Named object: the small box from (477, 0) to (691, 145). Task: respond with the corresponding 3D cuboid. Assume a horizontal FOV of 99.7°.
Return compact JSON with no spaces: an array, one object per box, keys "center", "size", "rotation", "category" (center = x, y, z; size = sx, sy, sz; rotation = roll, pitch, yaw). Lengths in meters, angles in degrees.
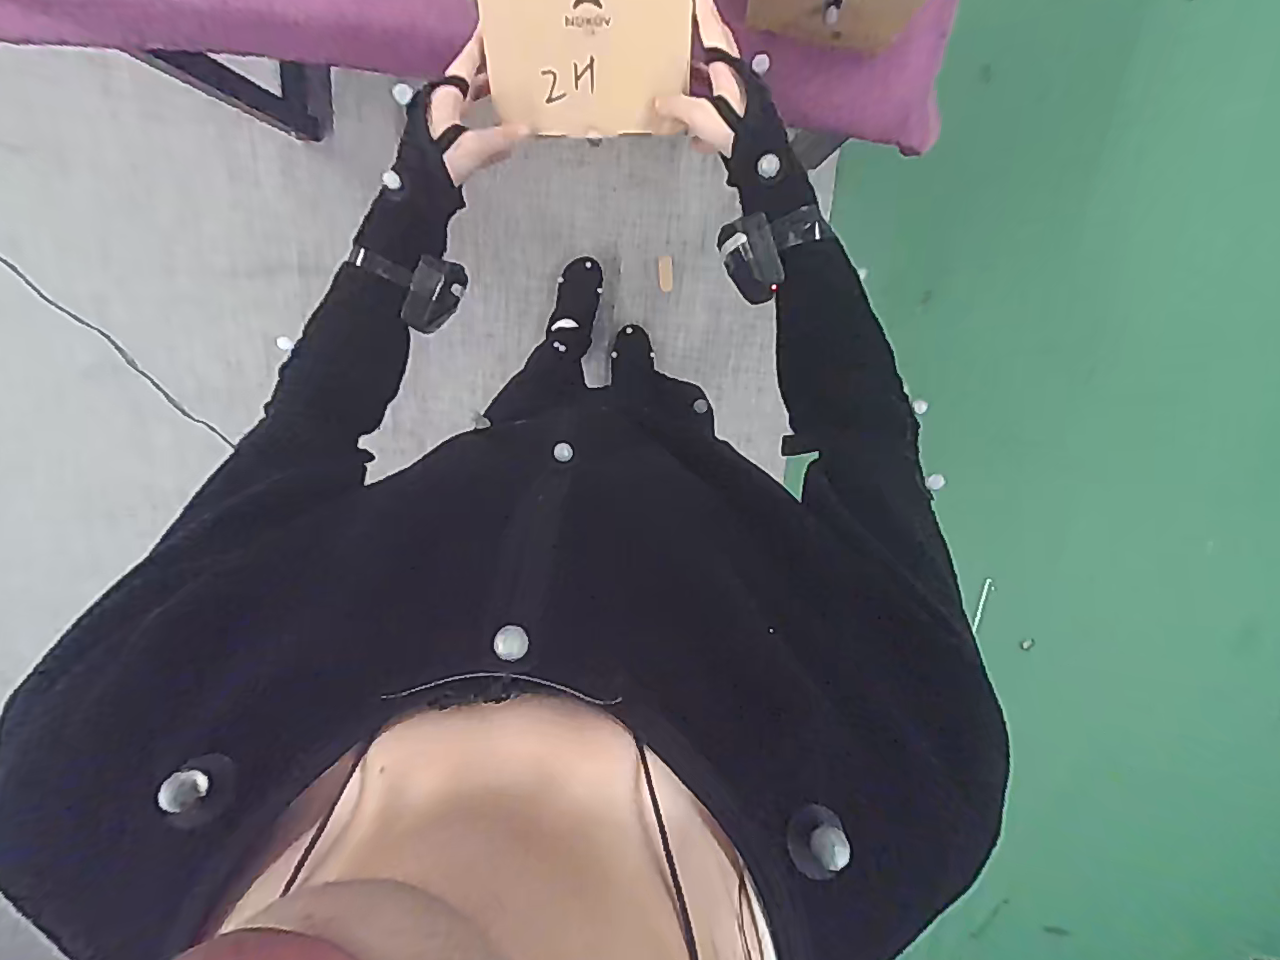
[{"center":[-0.046,-0.408,0.478],"size":[0.168,0.176,0.179],"rotation":[-1,128,-2],"category":"small box"}]
